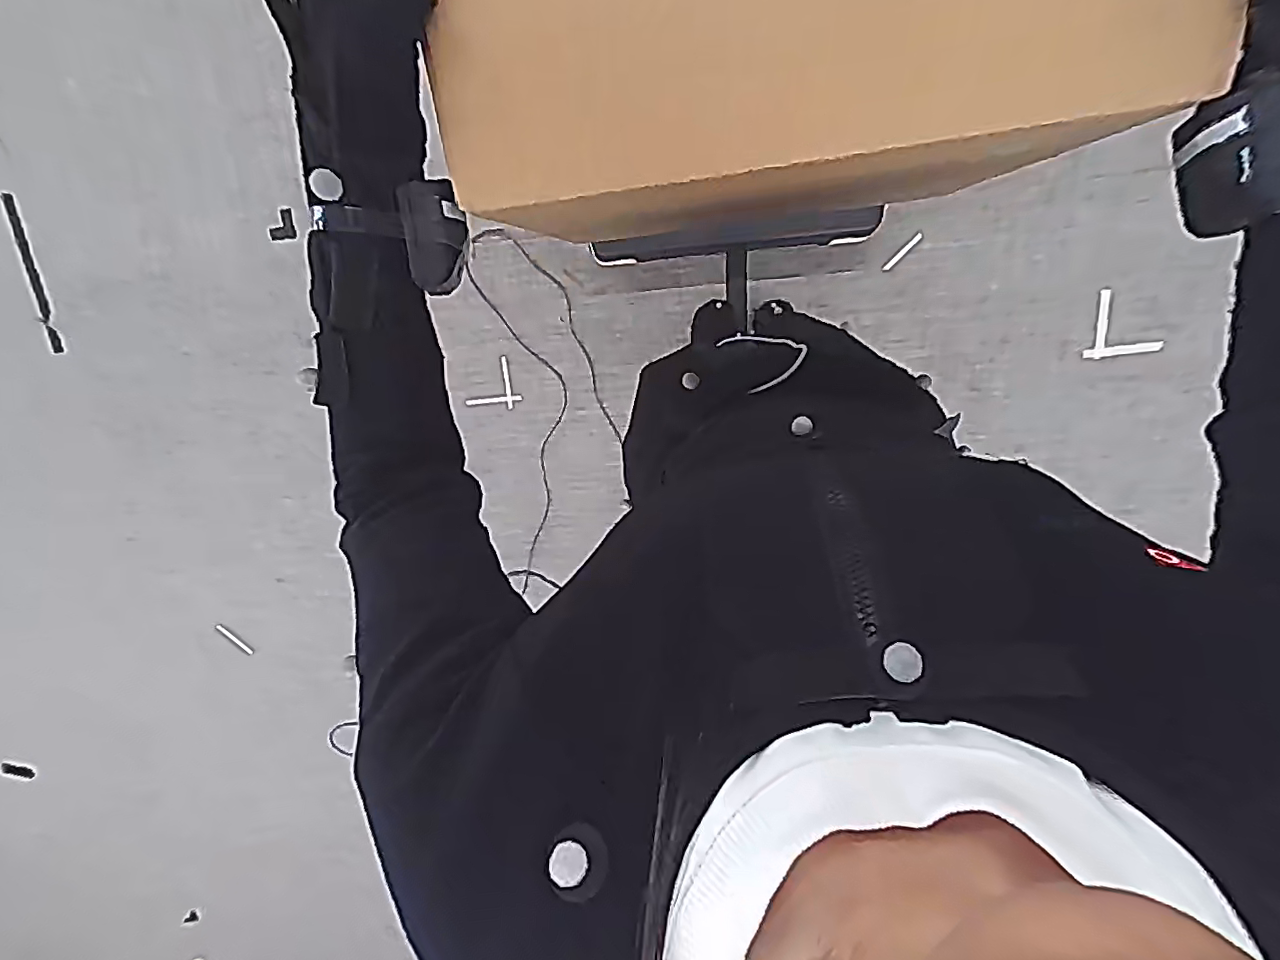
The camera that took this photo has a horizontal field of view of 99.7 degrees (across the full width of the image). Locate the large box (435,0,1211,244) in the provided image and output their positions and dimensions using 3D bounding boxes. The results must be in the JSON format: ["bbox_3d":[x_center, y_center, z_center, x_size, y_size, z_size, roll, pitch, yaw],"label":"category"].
[{"bbox_3d":[0.086,-0.380,0.399,0.408,0.320,0.320,-5,110,7],"label":"large box"}]
